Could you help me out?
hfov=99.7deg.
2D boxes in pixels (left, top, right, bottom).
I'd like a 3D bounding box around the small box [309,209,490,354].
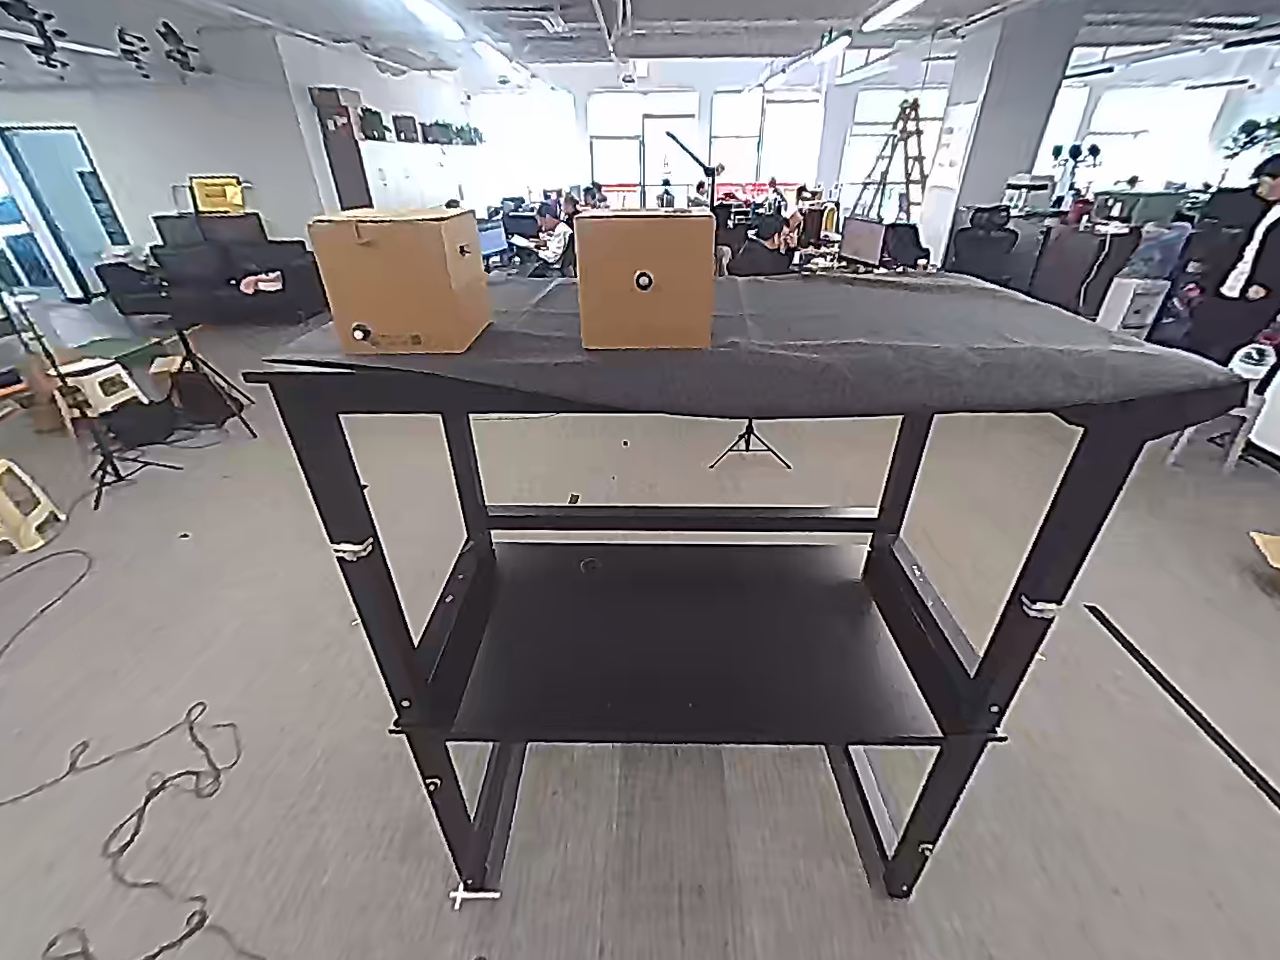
[{"bbox_3d":[-0.320,-0.282,0.766,0.168,0.176,0.179,0,30,0],"label":"small box"}]
